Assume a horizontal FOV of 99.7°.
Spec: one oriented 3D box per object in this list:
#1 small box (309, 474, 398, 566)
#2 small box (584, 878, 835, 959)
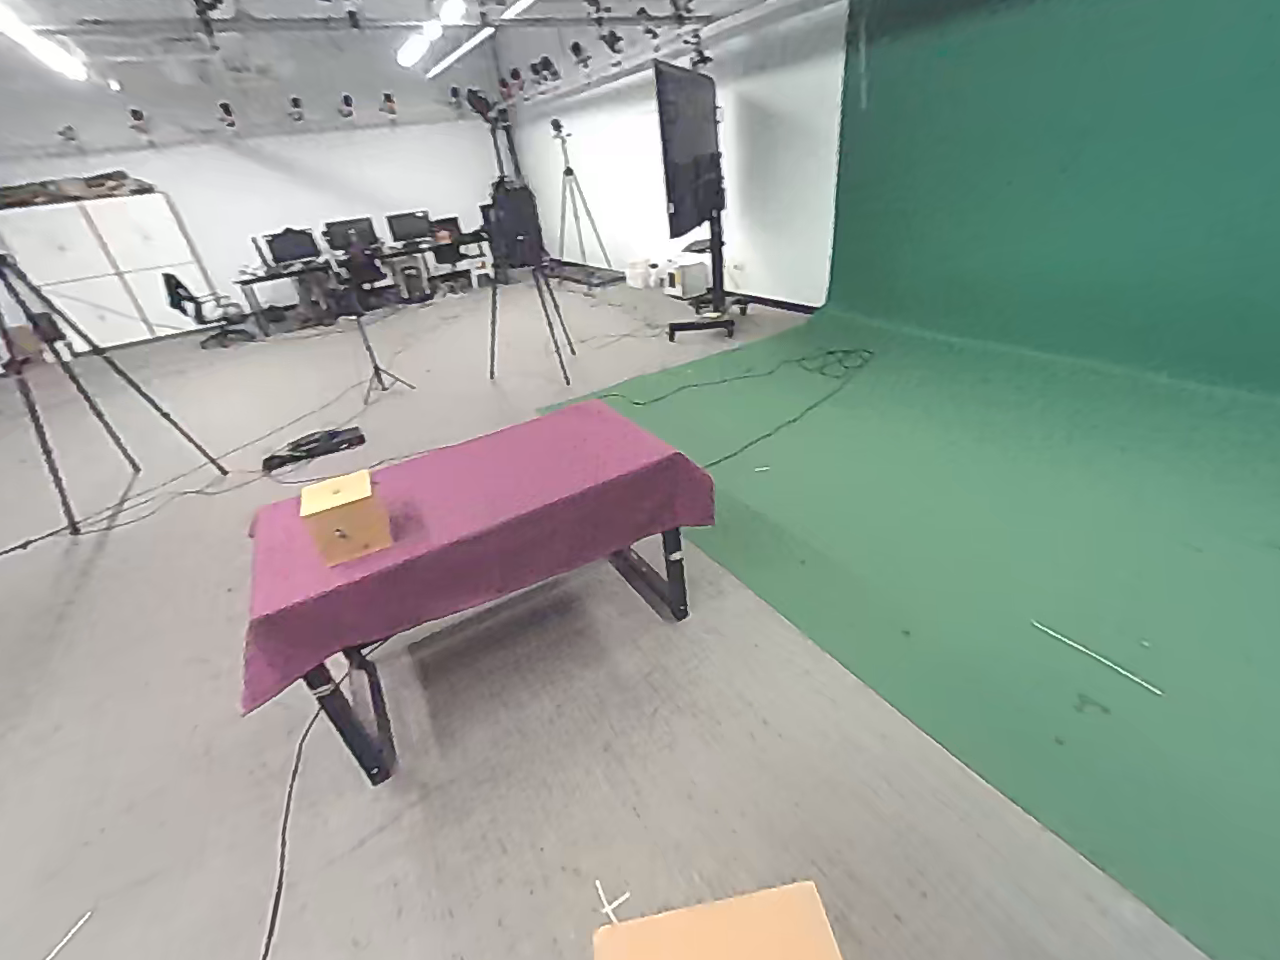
[{"bbox_3d":[-0.767,0.112,1.458,0.168,0.176,0.179,-20,31,-19],"label":"small box"},{"bbox_3d":[0.056,0.429,0.394,0.179,0.176,0.168,-5,39,-10],"label":"small box"}]
